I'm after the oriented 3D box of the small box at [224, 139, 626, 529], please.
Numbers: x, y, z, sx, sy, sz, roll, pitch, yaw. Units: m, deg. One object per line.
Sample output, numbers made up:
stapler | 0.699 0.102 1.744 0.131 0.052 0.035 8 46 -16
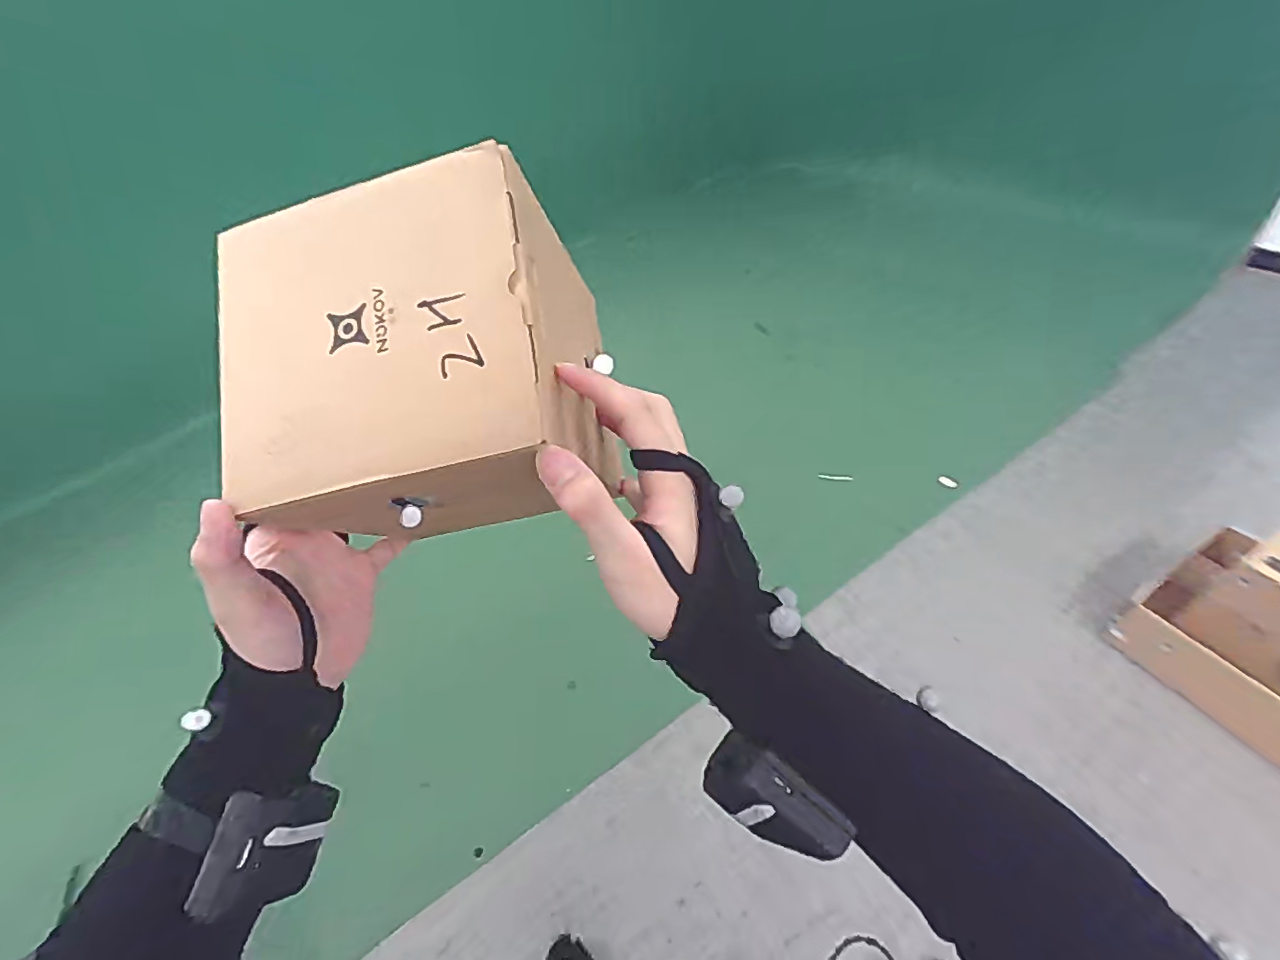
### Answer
small box | -0.120 -0.066 0.350 0.179 0.176 0.168 -11 78 9
